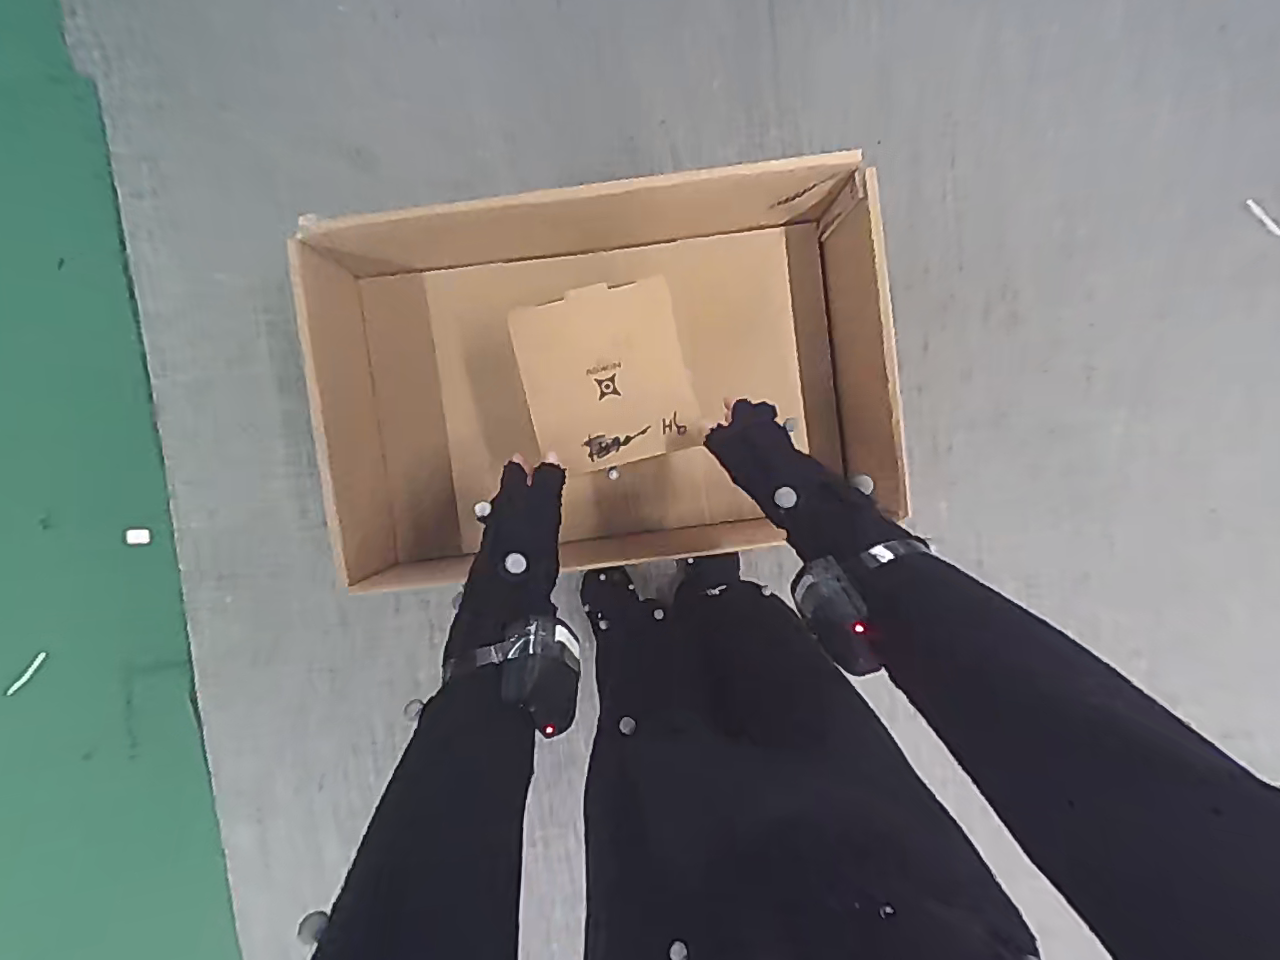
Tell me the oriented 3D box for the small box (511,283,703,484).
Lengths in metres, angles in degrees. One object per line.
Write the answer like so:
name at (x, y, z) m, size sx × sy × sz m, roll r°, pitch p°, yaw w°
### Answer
small box at (-0.033, -0.098, 0.625) m, size 0.168 × 0.176 × 0.179 m, roll -14°, pitch 91°, yaw 2°
